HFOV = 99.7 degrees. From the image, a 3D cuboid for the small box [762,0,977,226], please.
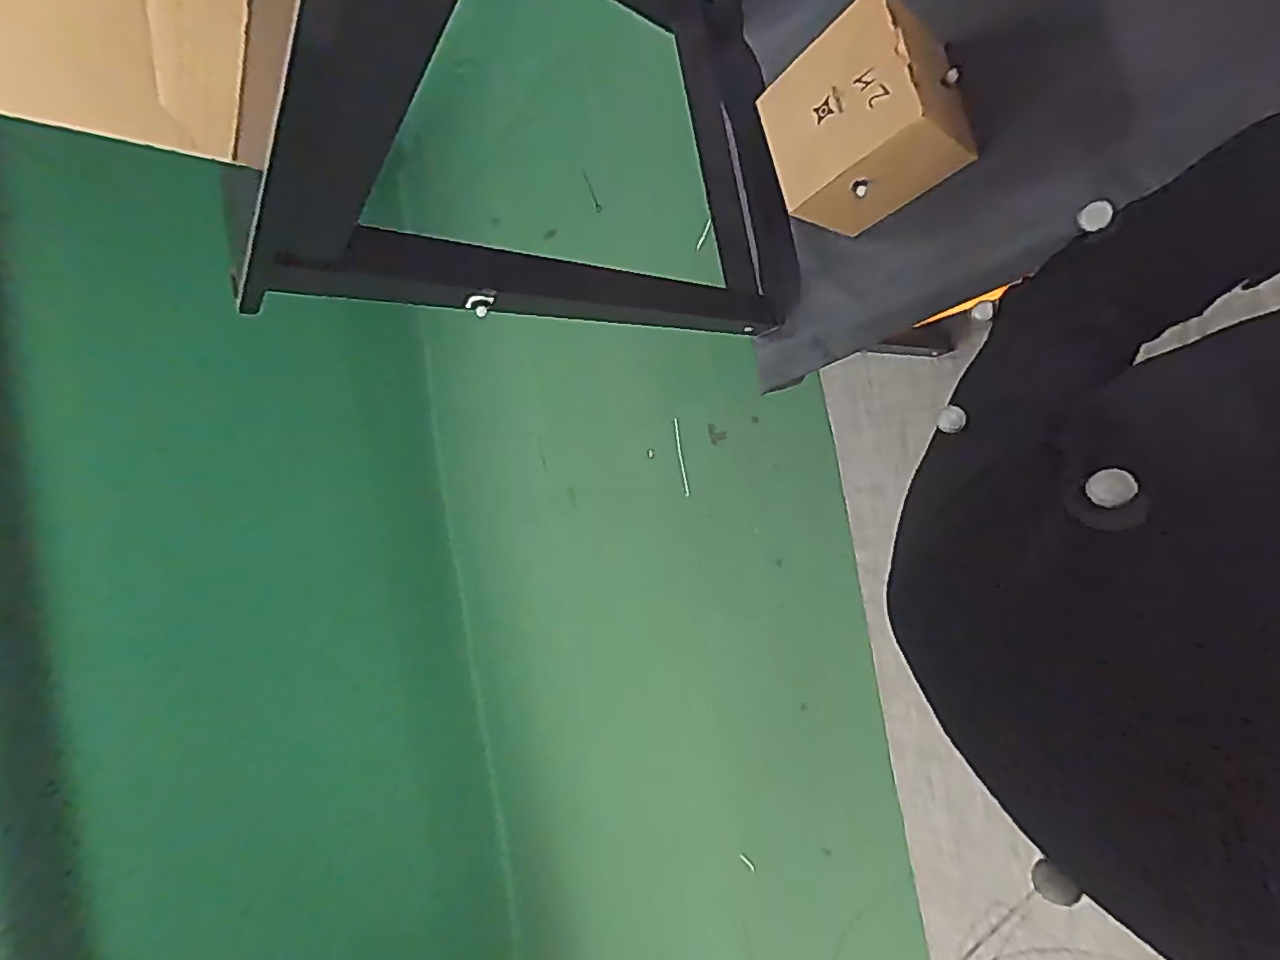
[{"bbox_3d":[0.291,-0.457,0.694,0.179,0.176,0.168,-21,81,49],"label":"small box"}]
